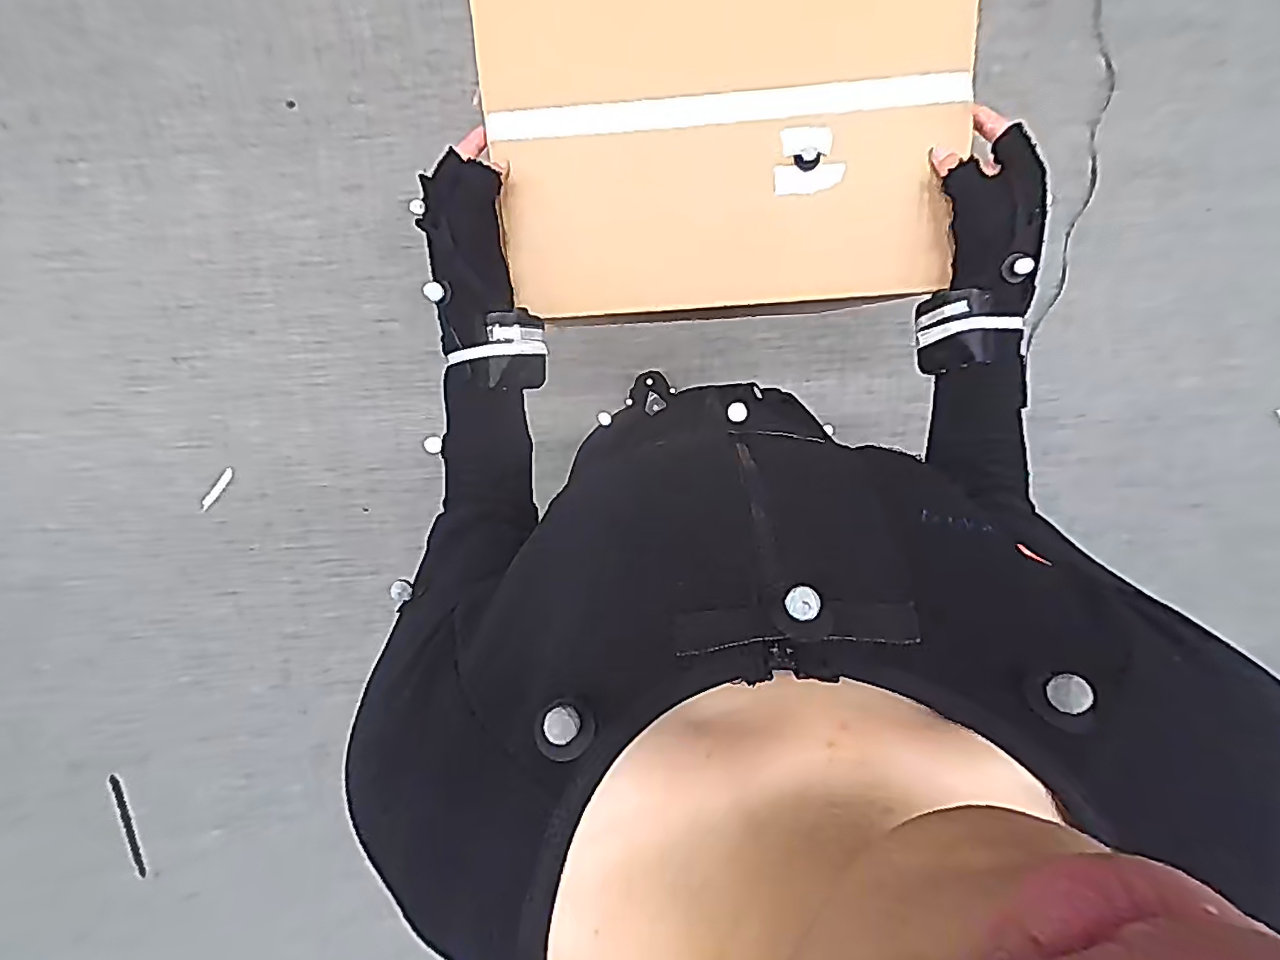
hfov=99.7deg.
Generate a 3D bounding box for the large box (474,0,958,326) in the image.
[{"bbox_3d":[0.067,-0.354,0.609,0.408,0.320,0.320,-3,104,1],"label":"large box"}]
